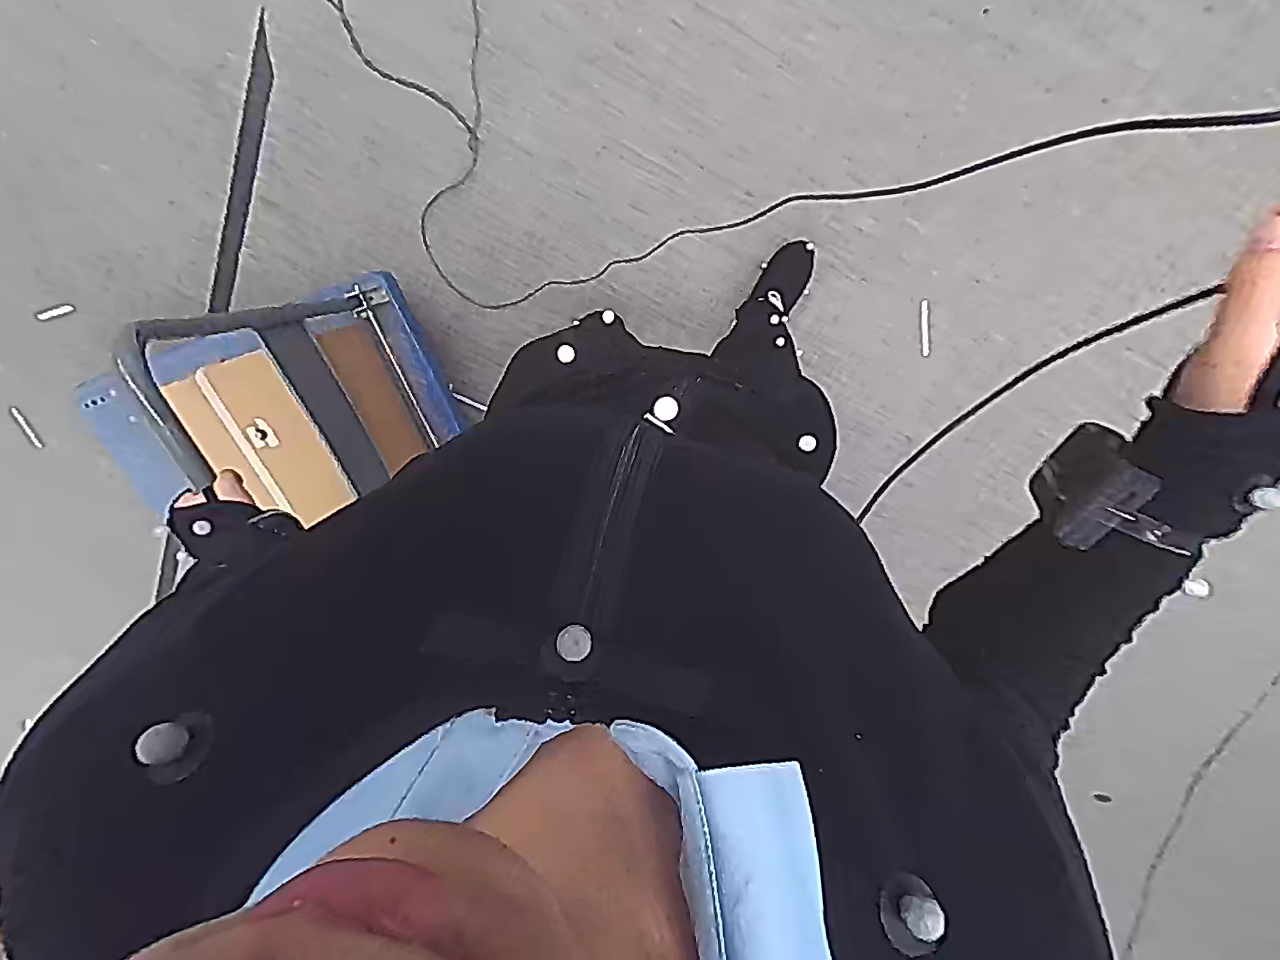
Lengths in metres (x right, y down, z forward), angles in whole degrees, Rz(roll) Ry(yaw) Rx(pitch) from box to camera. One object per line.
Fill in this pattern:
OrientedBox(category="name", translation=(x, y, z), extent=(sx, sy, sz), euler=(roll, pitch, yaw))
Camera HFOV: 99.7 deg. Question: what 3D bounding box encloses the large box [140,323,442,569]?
OrientedBox(category="large box", translation=(-0.700, -0.083, 1.169), extent=(0.320, 0.320, 0.408), euler=(-16, 111, 8))
